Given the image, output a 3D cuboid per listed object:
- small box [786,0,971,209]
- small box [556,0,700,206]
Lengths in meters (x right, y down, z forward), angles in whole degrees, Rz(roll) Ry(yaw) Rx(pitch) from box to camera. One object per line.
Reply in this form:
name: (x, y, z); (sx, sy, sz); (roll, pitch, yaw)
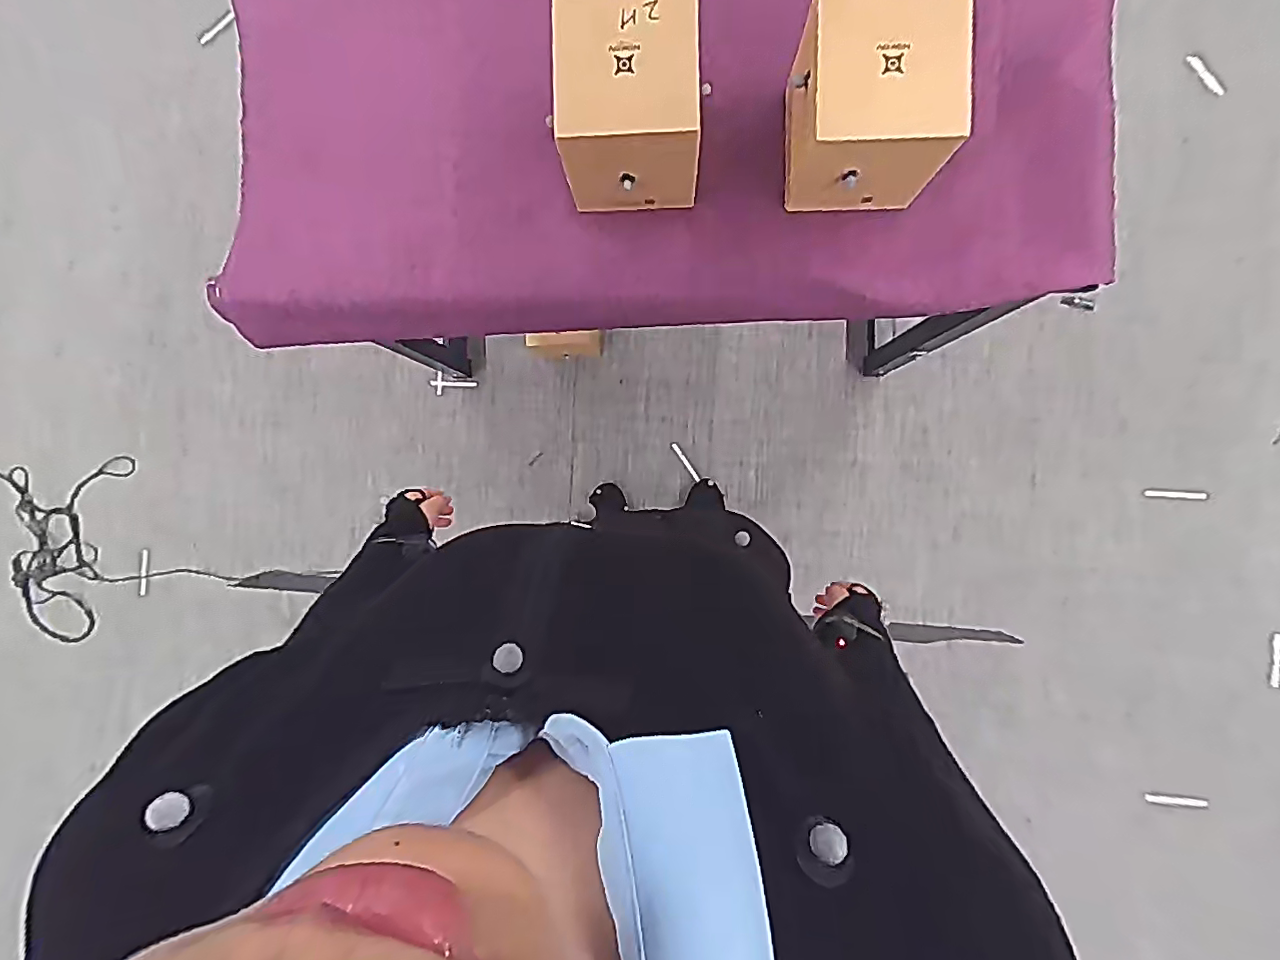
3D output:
small box: (0.281, -0.457, 0.672); (0.168, 0.176, 0.179); (1, 90, 4)
small box: (-0.010, -0.470, 0.688); (0.168, 0.176, 0.179); (0, 89, 2)
